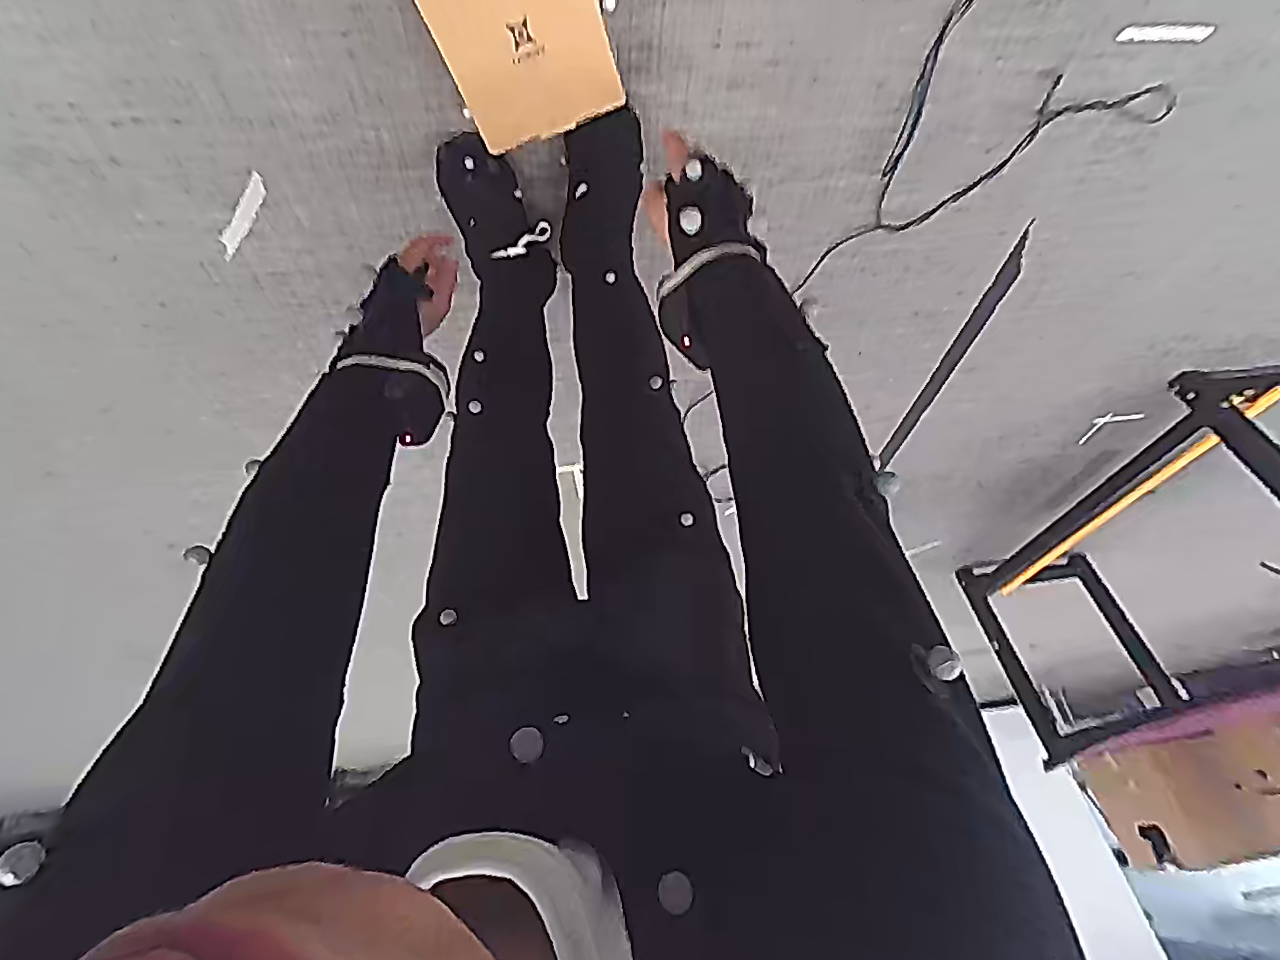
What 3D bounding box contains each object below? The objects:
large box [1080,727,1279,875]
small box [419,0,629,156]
[{"bbox_3d":[1.698,0.973,1.641,0.408,0.320,0.320,-7,145,-5],"label":"large box"},{"bbox_3d":[-0.122,-0.498,0.579,0.168,0.176,0.179,-16,145,10],"label":"small box"}]
